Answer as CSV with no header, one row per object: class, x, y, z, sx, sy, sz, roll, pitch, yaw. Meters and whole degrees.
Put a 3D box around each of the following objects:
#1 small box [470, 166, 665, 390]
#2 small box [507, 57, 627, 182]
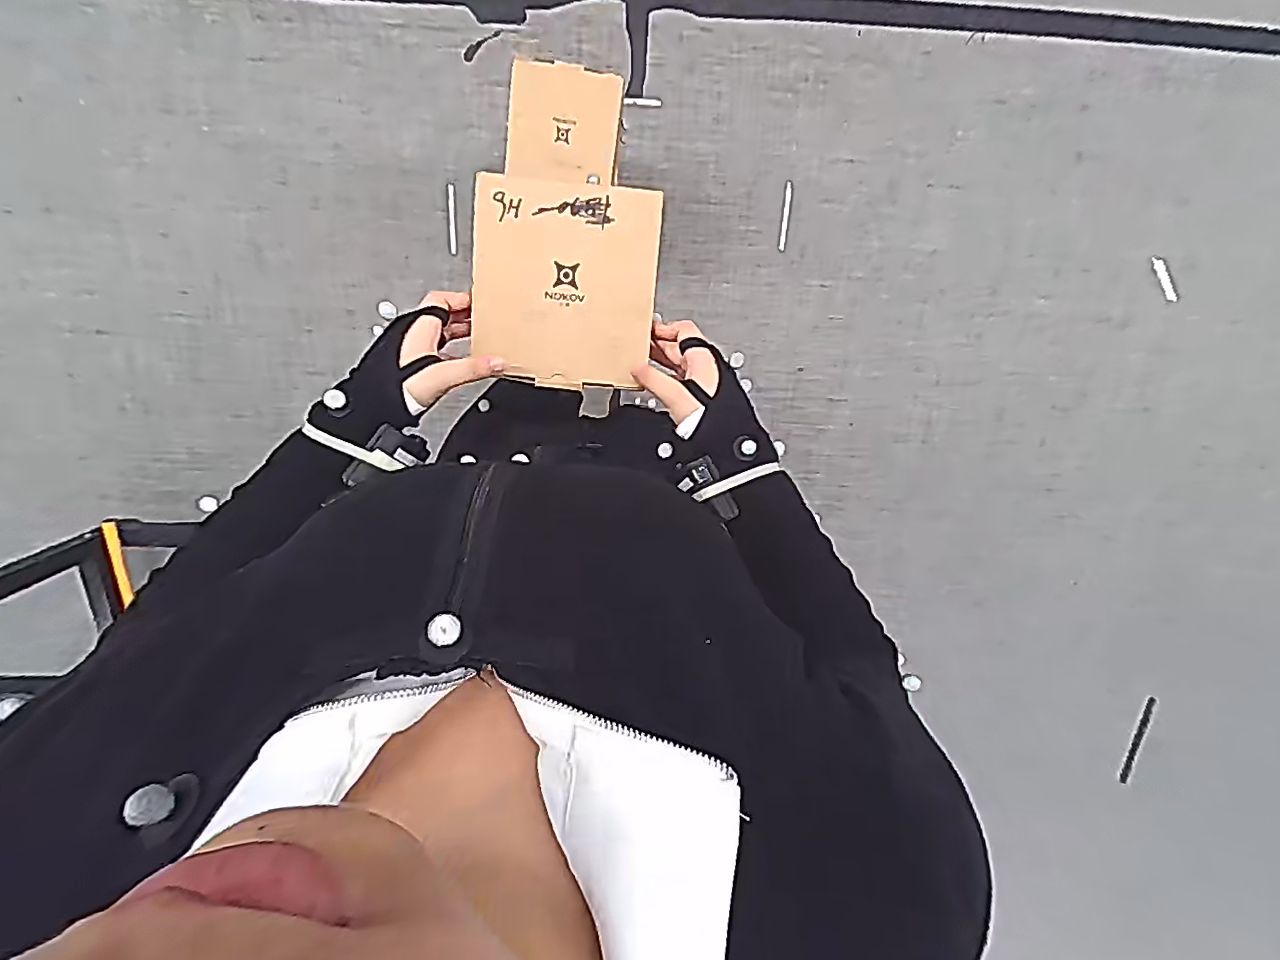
small box,-0.068,-0.193,0.558,0.168,0.176,0.179,5,102,-3
small box,-0.116,-0.543,0.885,0.168,0.176,0.179,7,108,-4
